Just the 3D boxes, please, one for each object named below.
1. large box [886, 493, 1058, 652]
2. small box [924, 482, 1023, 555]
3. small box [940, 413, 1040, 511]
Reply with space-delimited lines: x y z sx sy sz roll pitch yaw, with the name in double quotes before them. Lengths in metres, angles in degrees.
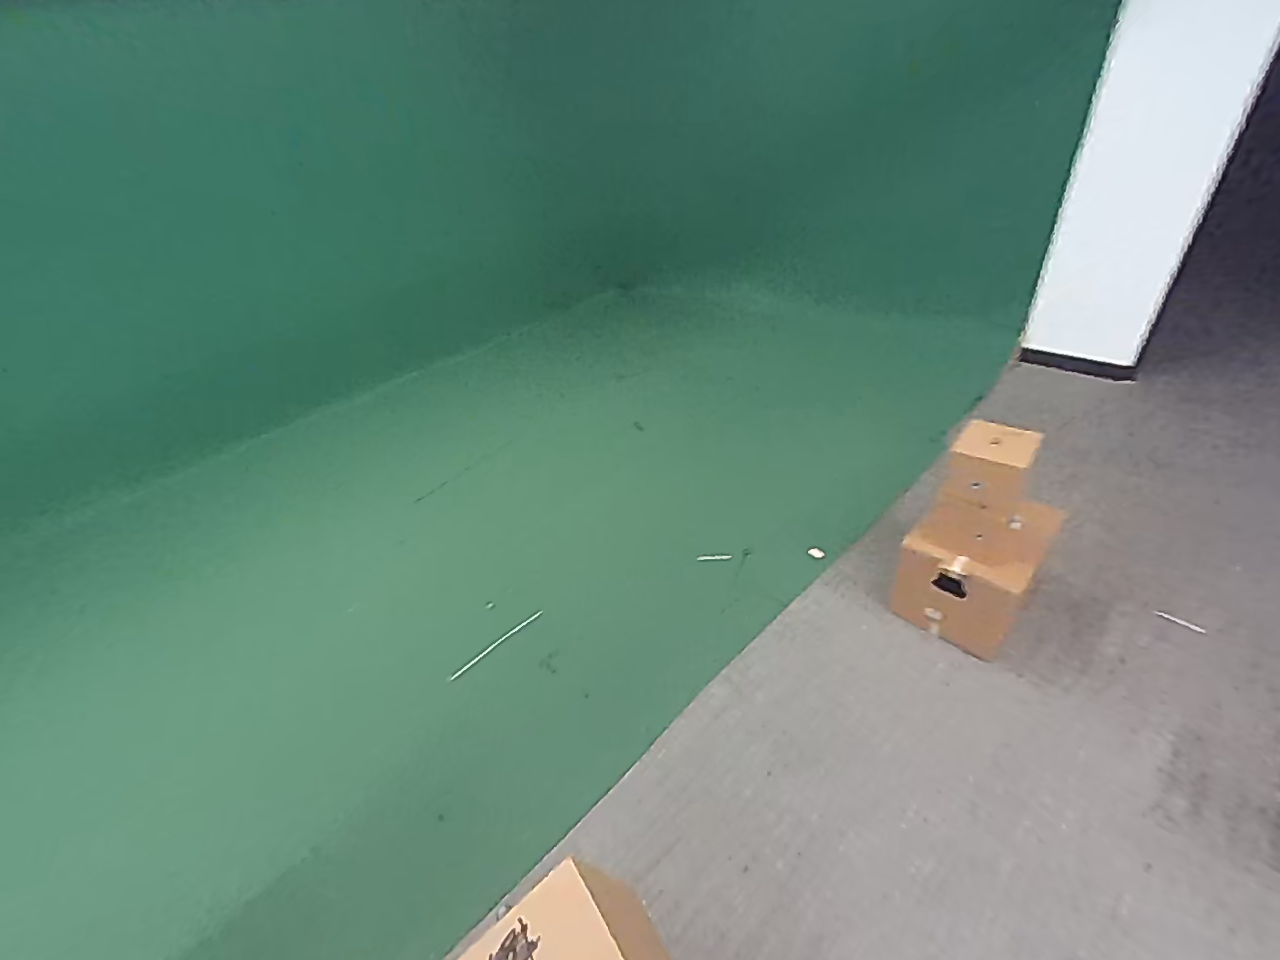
"large box" 1.023 0.246 1.688 0.408 0.320 0.320 -35 44 -30
"small box" 0.928 0.085 1.516 0.179 0.176 0.168 26 49 39
"small box" 0.910 -0.047 1.418 0.168 0.176 0.179 23 48 35
